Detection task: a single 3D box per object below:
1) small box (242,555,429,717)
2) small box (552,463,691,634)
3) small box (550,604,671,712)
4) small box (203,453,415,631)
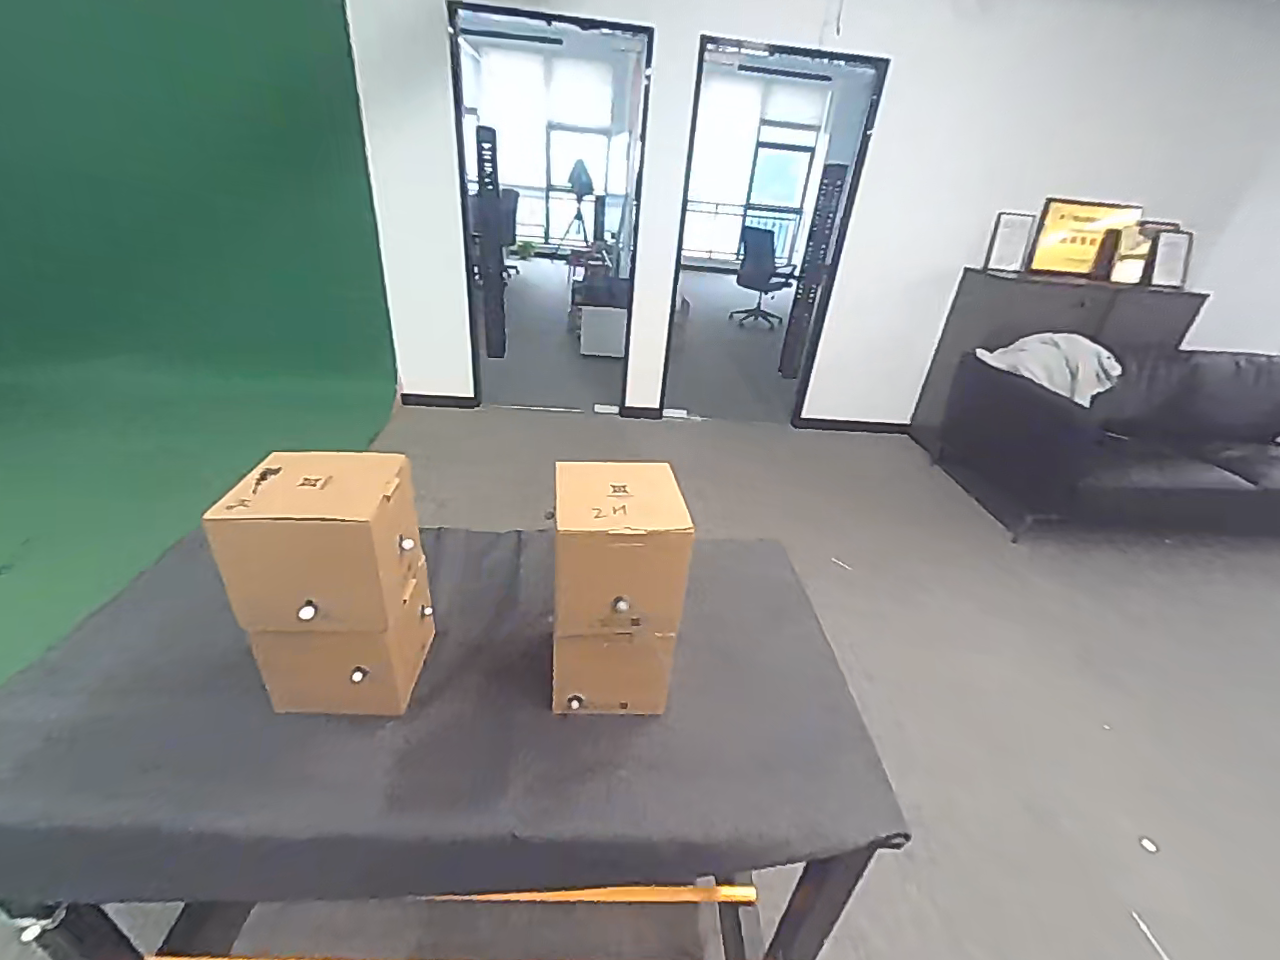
[{"bbox_3d":[-0.419,0.221,0.784,0.179,0.176,0.168,2,27,-5],"label":"small box"},{"bbox_3d":[-0.037,0.090,0.750,0.168,0.176,0.179,0,29,-10],"label":"small box"},{"bbox_3d":[-0.048,0.233,0.831,0.168,0.176,0.179,3,28,-6],"label":"small box"},{"bbox_3d":[-0.404,0.079,0.701,0.179,0.176,0.168,2,27,-8],"label":"small box"}]
